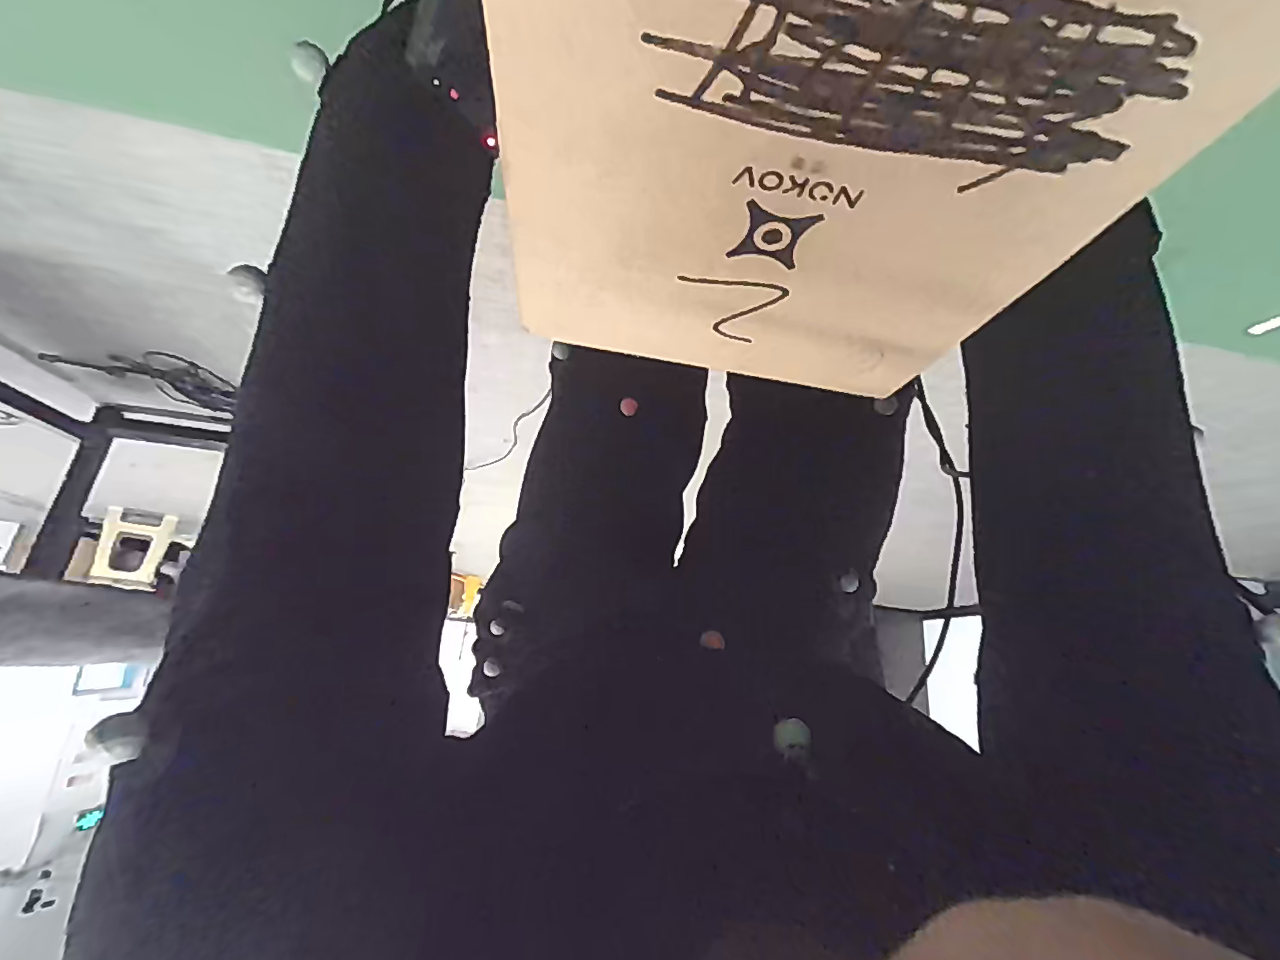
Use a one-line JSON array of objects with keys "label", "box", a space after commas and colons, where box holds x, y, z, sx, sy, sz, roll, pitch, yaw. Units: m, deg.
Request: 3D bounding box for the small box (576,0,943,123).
[{"label": "small box", "box": [0.070, -0.311, 0.234, 0.168, 0.176, 0.179, 9, 160, -6]}]
